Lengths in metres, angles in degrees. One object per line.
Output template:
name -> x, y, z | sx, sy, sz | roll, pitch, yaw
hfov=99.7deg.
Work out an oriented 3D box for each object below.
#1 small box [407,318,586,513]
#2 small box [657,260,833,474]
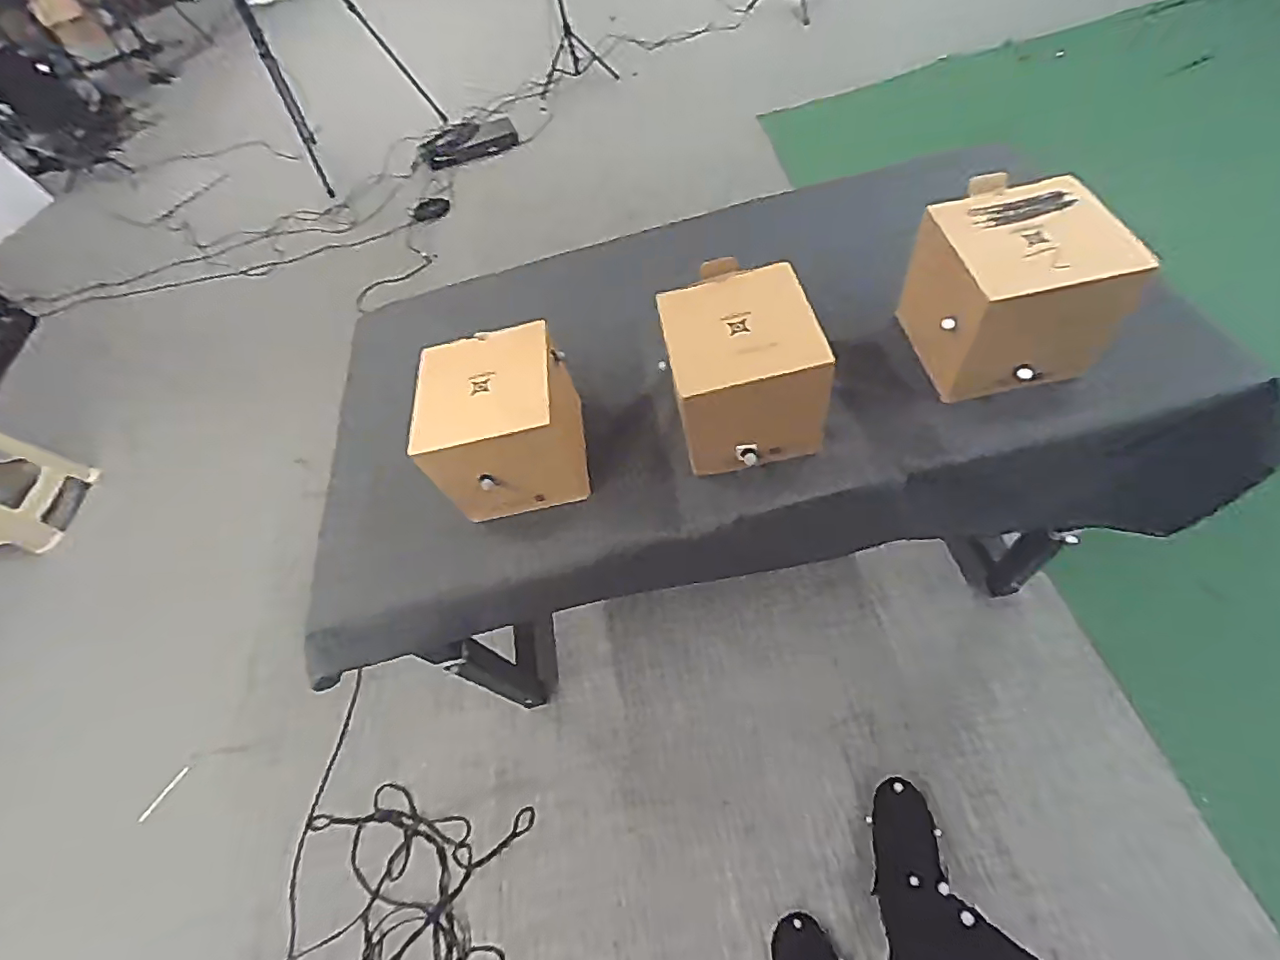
small box -> -0.173, -0.072, 0.700 | 0.168, 0.176, 0.179 | -13, 55, 5
small box -> 0.124, -0.134, 0.673 | 0.168, 0.176, 0.179 | -14, 56, 5
